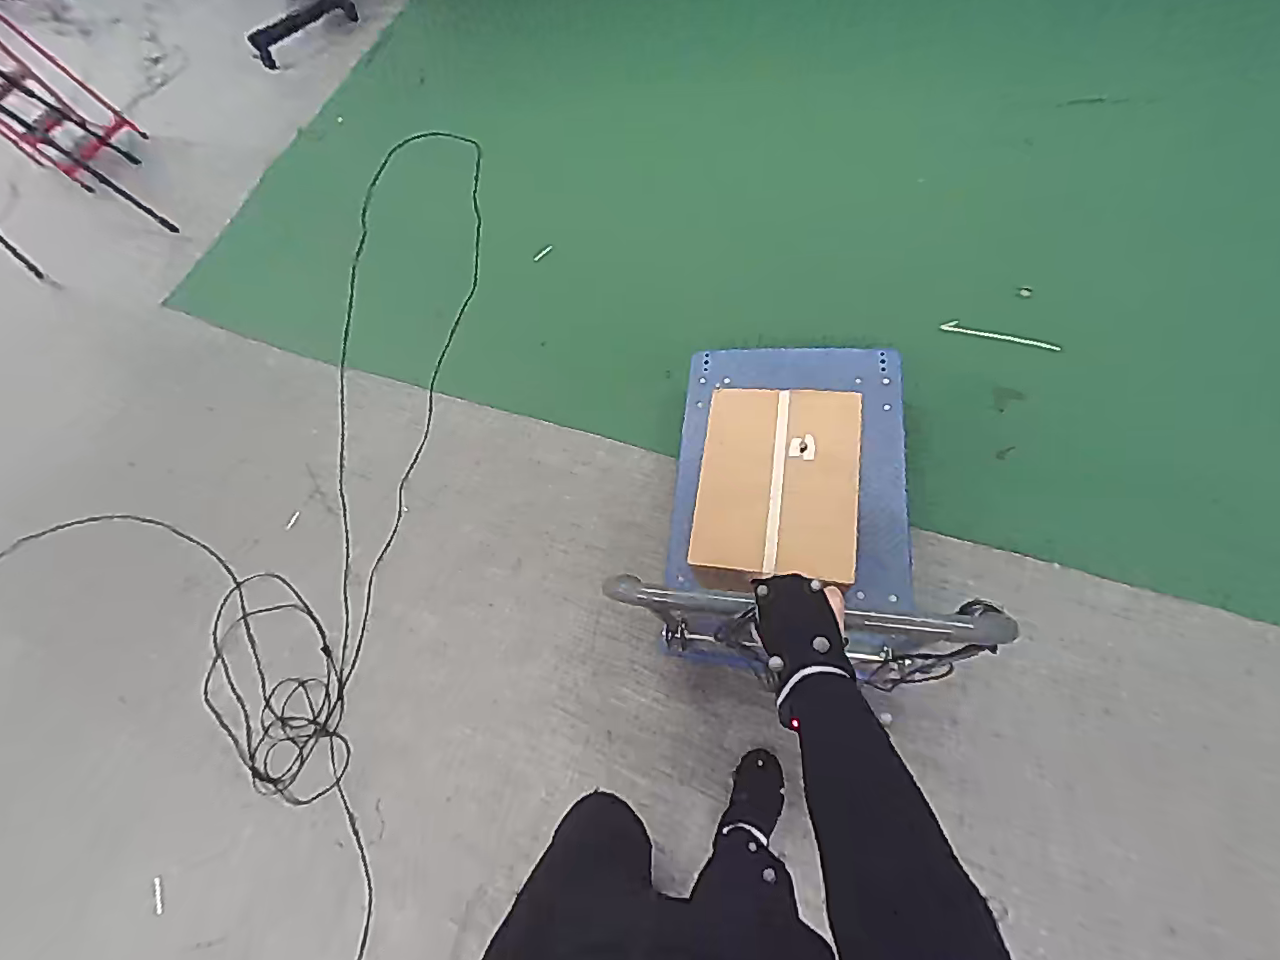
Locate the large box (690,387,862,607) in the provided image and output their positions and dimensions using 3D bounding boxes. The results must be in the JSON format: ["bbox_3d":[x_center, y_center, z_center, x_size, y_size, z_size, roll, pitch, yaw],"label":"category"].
[{"bbox_3d":[0.310,0.046,1.216,0.320,0.320,0.408,6,69,15],"label":"large box"}]
